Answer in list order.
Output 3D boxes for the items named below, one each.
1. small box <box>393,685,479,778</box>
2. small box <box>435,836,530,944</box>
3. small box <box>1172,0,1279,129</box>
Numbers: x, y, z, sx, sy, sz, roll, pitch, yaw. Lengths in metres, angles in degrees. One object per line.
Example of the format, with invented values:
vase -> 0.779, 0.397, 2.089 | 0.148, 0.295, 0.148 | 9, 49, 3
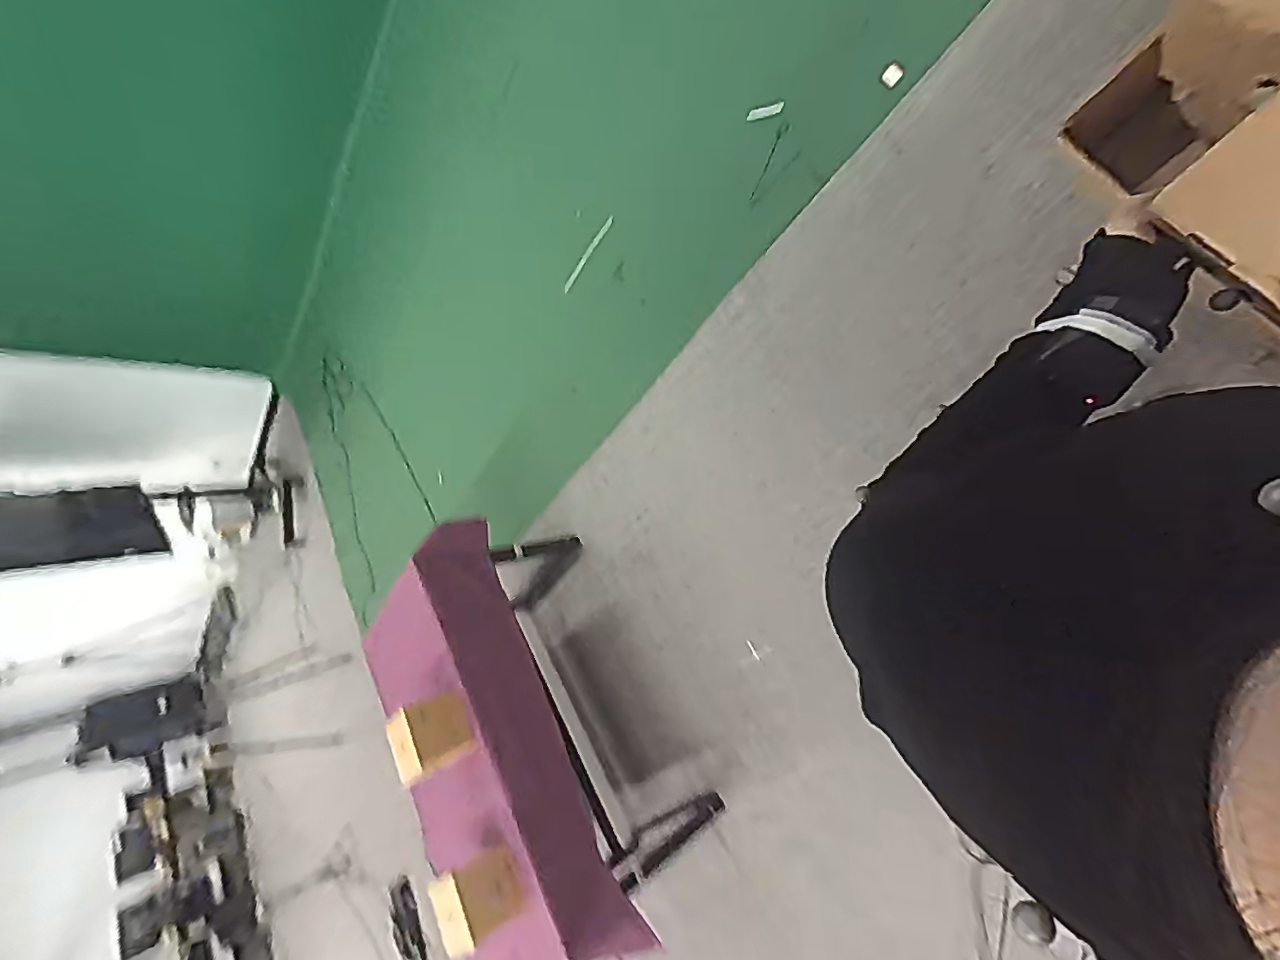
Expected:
small box -> -0.602, 0.739, 1.601 | 0.168, 0.176, 0.179 | -47, 62, 34
small box -> -0.417, 1.096, 1.455 | 0.179, 0.176, 0.168 | -46, 63, 35
small box -> 0.643, -0.464, 0.490 | 0.179, 0.176, 0.168 | -47, 63, 34
